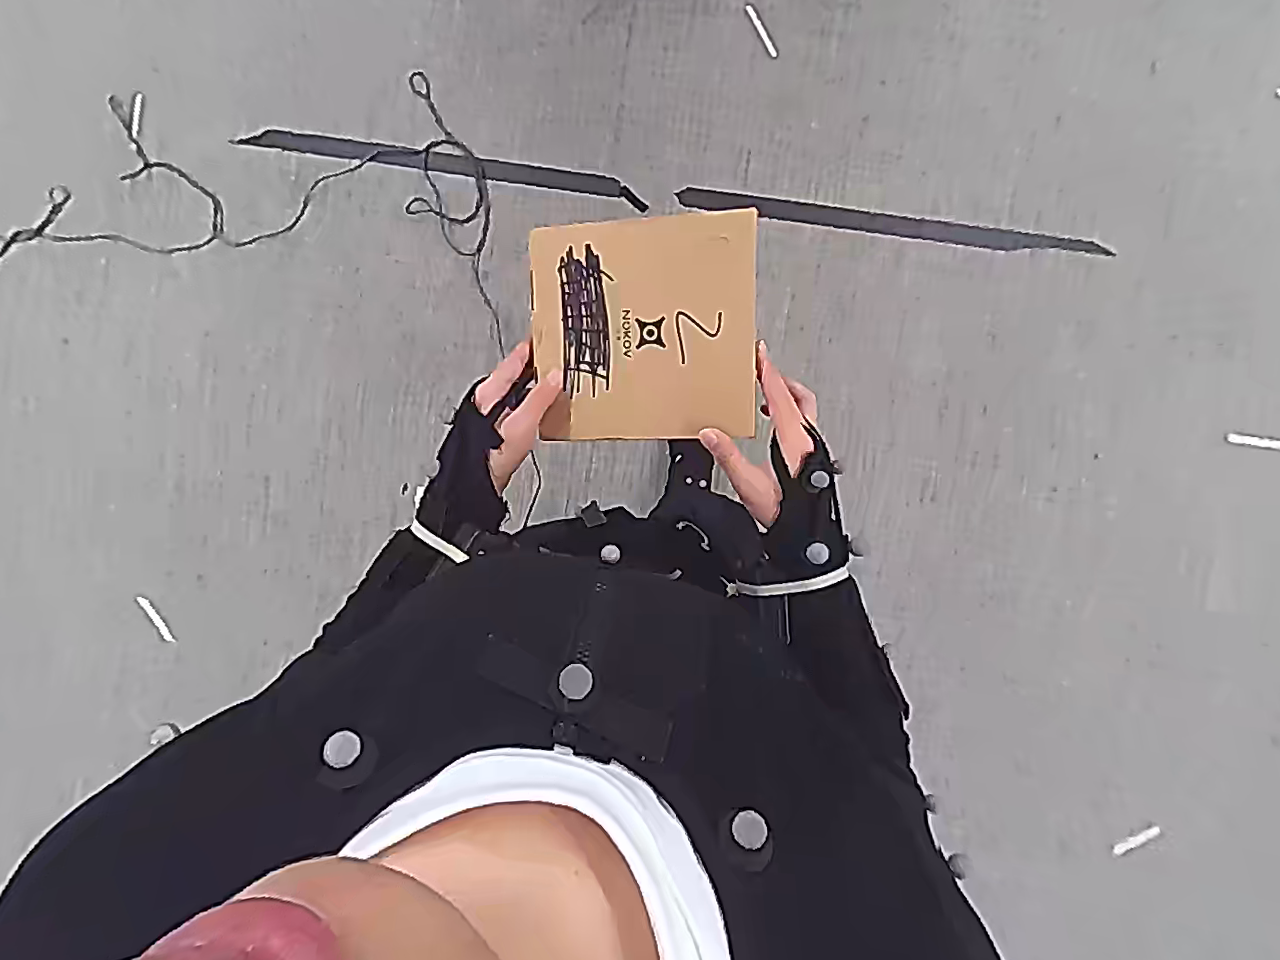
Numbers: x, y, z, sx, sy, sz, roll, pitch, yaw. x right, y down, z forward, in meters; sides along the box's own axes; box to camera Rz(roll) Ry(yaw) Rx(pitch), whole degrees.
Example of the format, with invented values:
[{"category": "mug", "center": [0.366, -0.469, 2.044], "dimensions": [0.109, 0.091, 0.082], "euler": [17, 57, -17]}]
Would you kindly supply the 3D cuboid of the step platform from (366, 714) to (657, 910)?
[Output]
[{"category": "step platform", "center": [-0.303, 0.804, 1.325], "dimensions": [0.684, 0.204, 0.286], "euler": [8, 93, 2]}]
